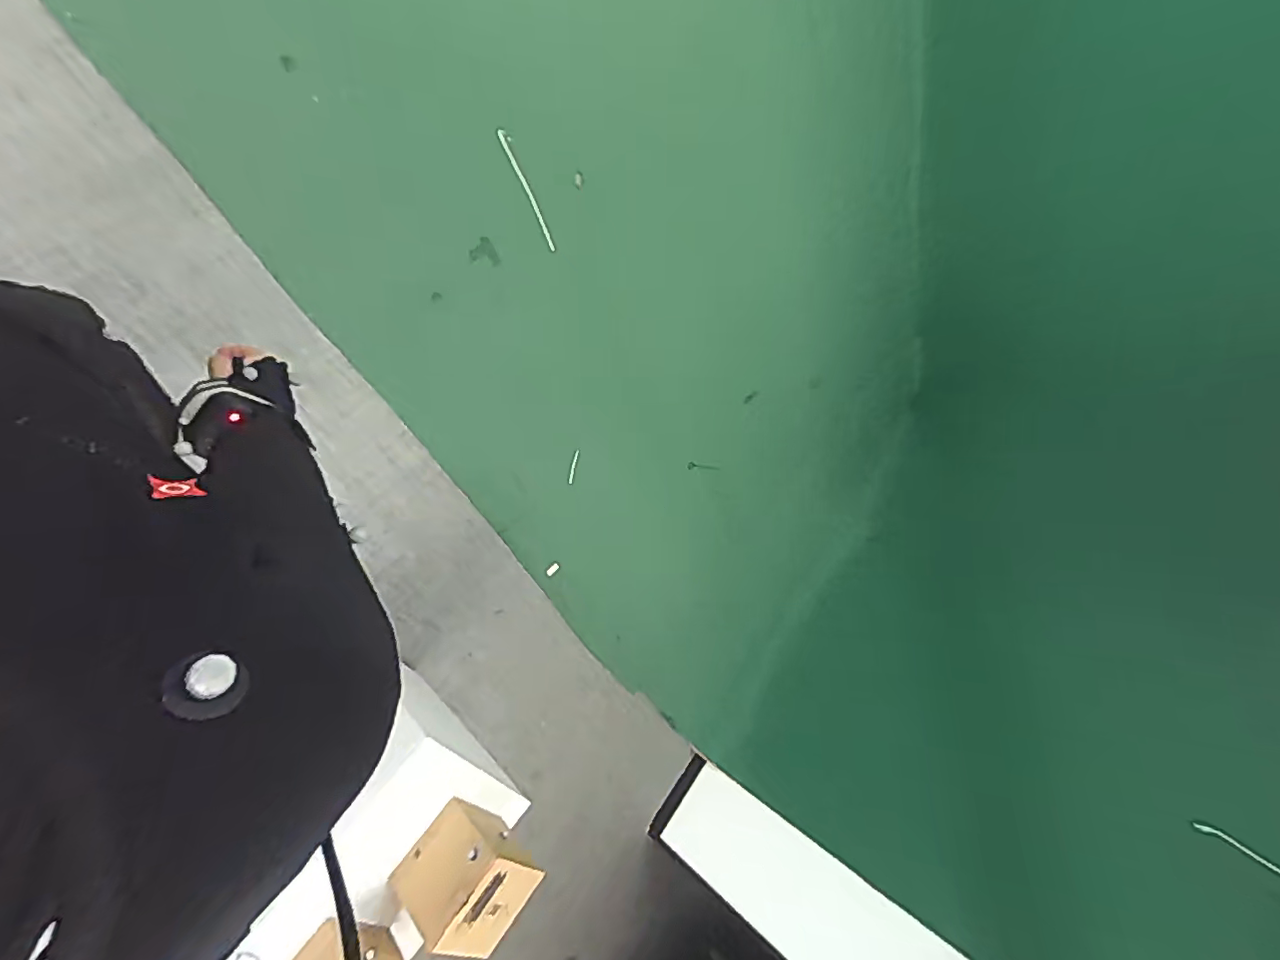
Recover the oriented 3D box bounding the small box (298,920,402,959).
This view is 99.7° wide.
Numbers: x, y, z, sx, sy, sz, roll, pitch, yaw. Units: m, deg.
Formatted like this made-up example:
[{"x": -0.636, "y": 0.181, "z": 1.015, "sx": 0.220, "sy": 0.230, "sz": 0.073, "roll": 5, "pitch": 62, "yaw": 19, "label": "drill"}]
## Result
[{"x": -0.499, "y": 0.881, "z": 0.892, "sx": 0.179, "sy": 0.176, "sz": 0.168, "roll": -49, "pitch": 134, "yaw": -22, "label": "small box"}]
